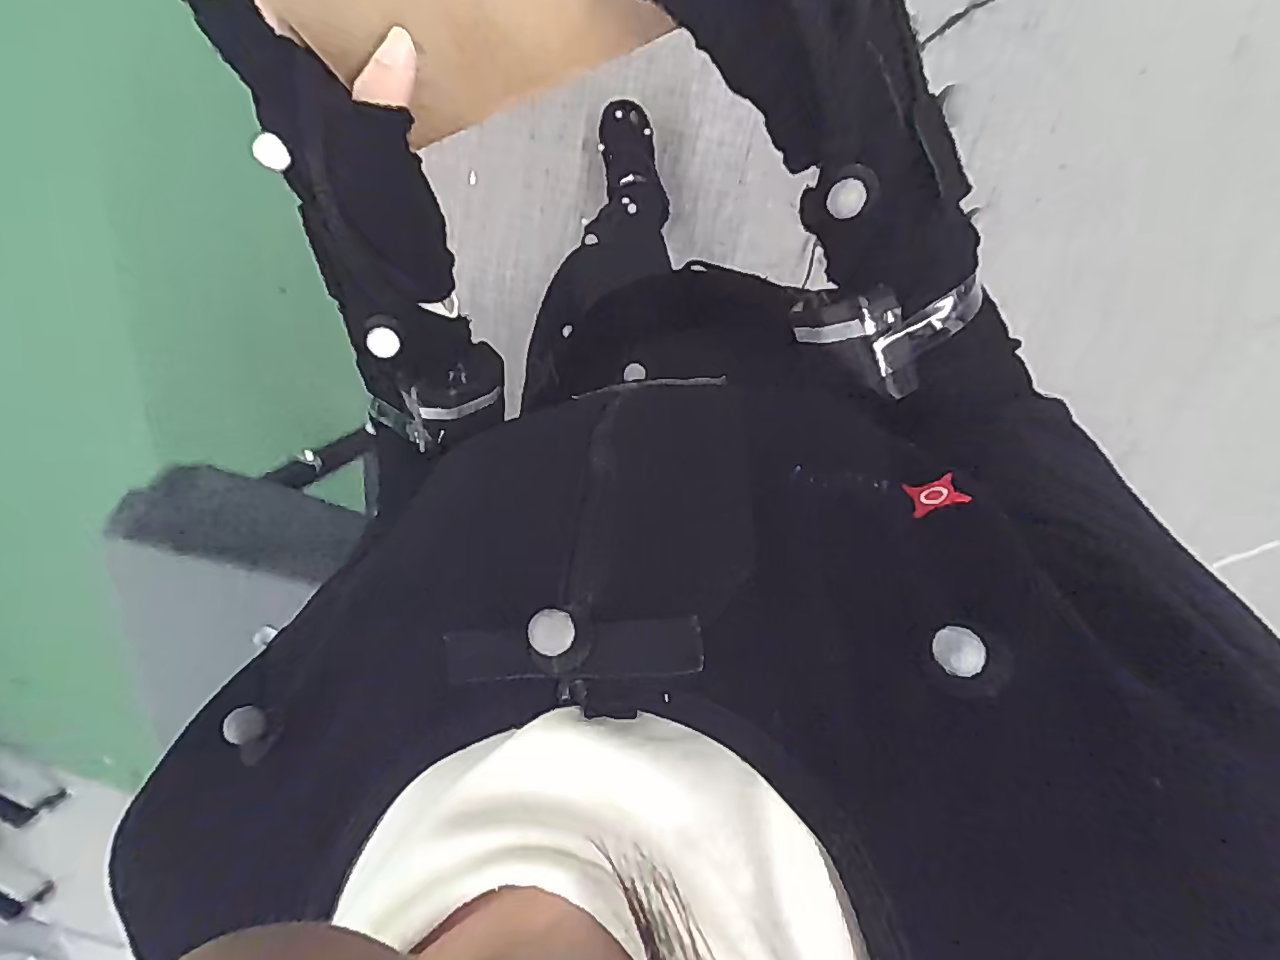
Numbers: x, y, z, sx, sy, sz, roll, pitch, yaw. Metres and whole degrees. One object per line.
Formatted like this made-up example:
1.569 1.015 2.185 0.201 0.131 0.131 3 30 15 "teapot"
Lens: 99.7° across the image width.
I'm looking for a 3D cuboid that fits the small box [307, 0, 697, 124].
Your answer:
-0.067 -0.290 0.197 0.179 0.168 0.176 -11 71 17 "small box"
